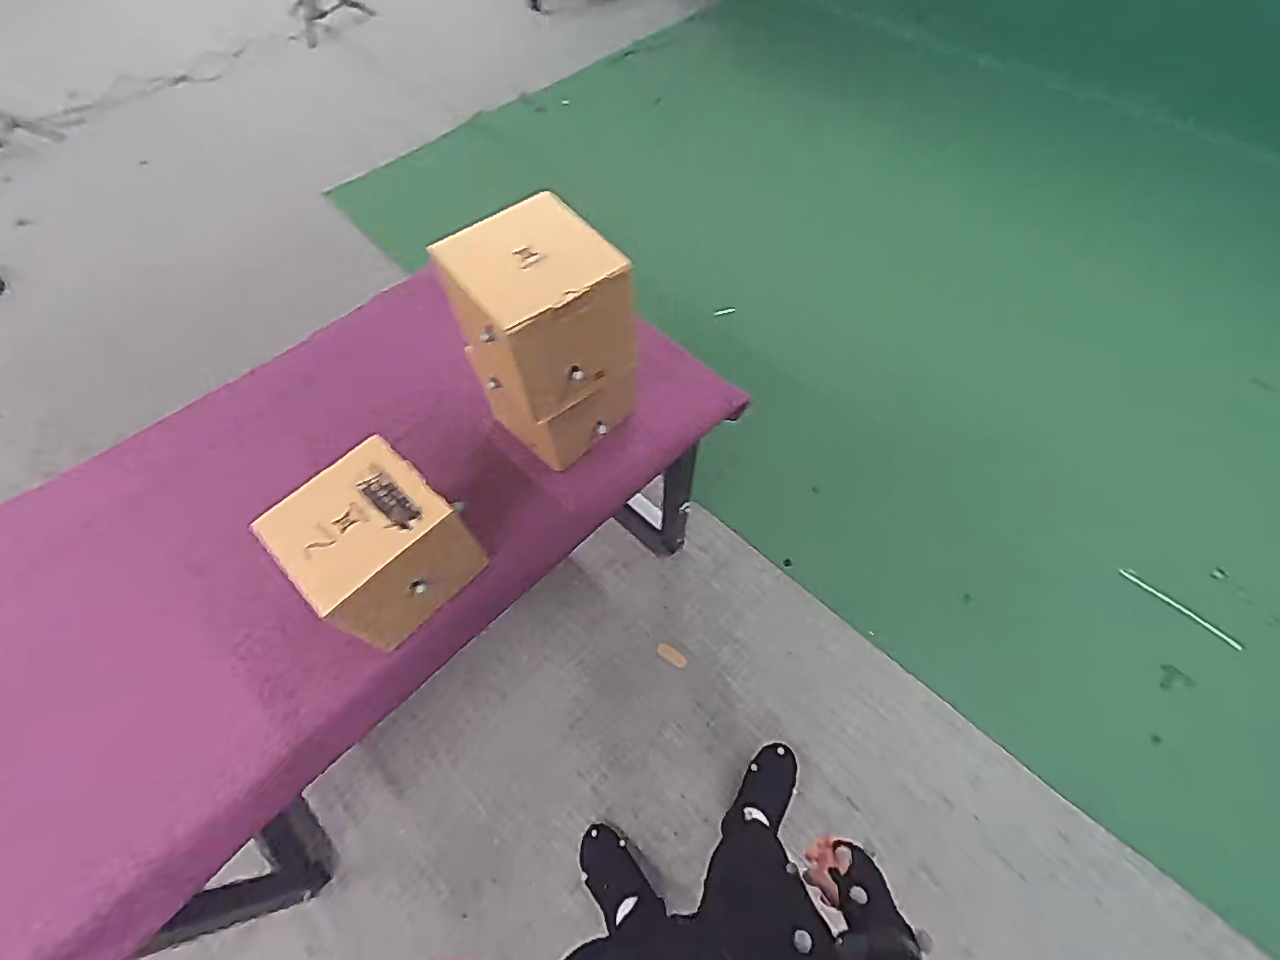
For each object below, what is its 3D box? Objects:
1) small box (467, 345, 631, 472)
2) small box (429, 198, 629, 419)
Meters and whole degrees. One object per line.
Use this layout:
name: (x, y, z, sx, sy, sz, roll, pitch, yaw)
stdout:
small box: (-0.130, -0.148, 0.838, 0.168, 0.176, 0.179, 38, 67, 23)
small box: (-0.130, -0.211, 0.685, 0.168, 0.176, 0.179, -35, 65, -17)
